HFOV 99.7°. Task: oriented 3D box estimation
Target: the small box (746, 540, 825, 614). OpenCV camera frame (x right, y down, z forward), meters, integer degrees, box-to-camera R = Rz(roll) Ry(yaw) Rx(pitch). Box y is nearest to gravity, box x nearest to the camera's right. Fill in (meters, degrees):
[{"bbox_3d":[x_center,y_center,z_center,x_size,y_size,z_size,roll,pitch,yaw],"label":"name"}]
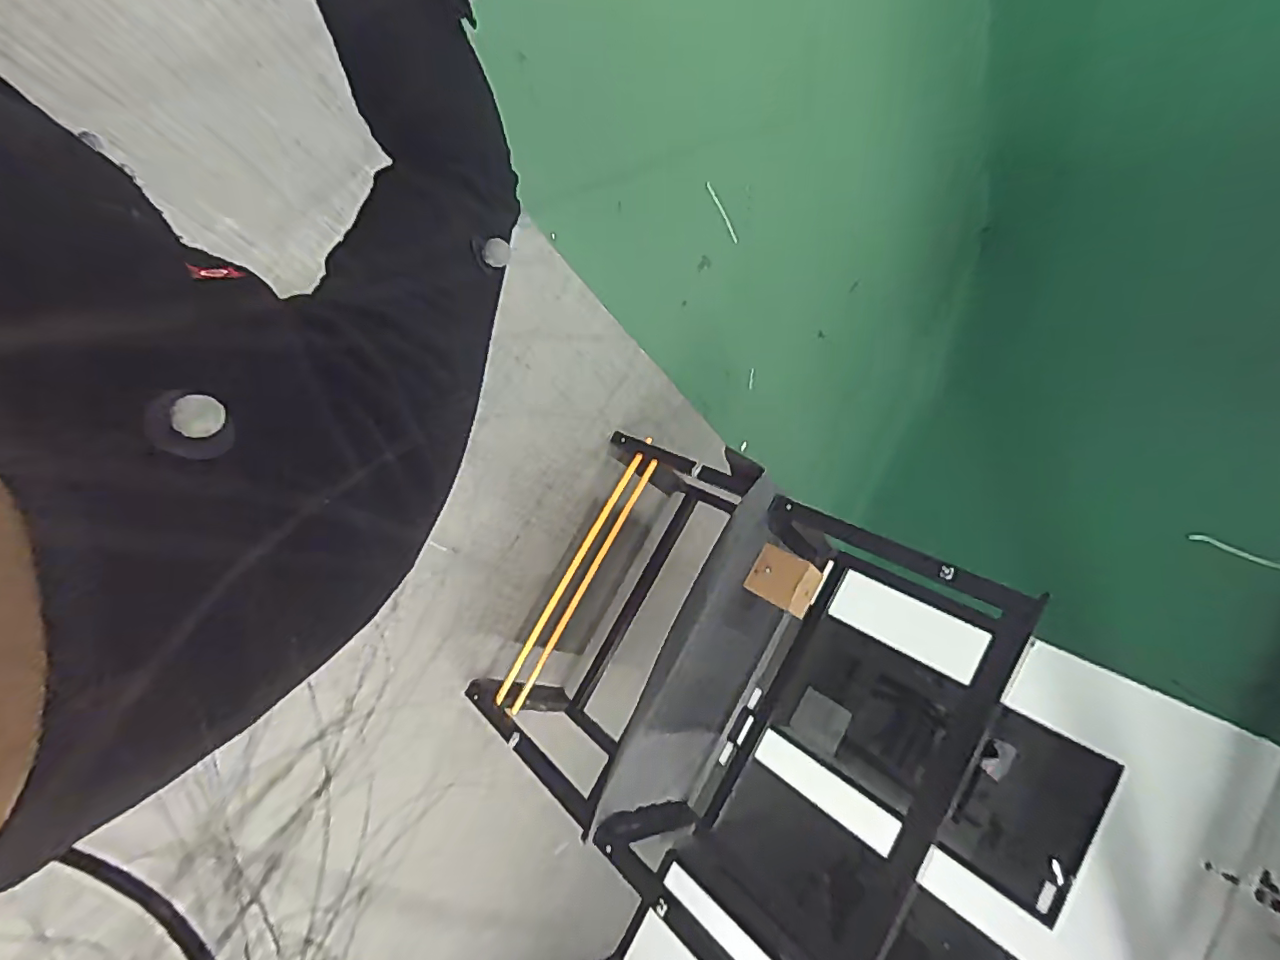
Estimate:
[{"bbox_3d":[0.480,0.318,1.785,0.179,0.176,0.168,36,81,-51],"label":"small box"}]
